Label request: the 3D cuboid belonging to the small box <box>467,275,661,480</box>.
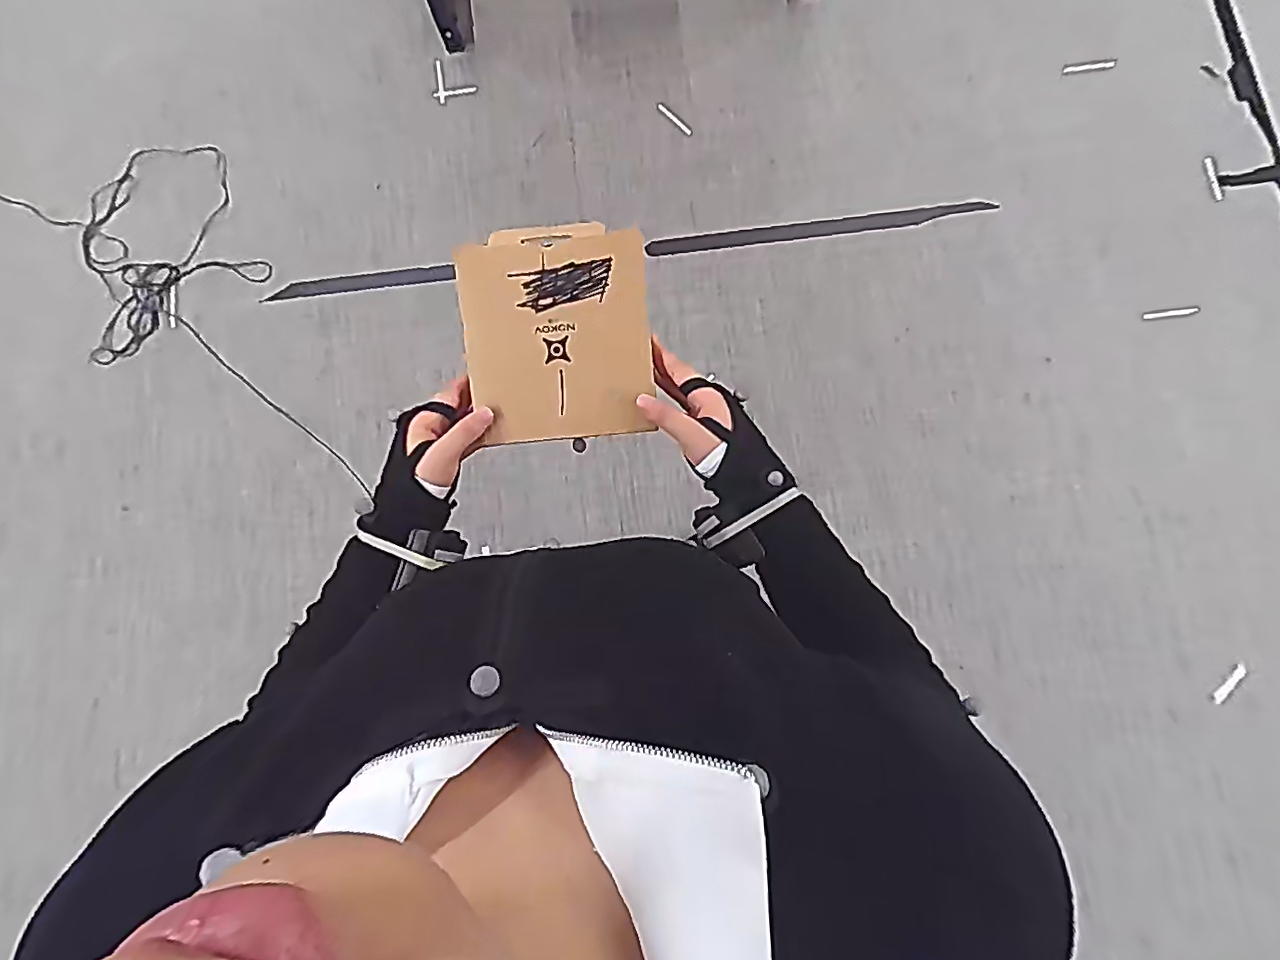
[{"bbox_3d":[-0.068,-0.098,0.569,0.168,0.176,0.179,-5,96,2],"label":"small box"}]
